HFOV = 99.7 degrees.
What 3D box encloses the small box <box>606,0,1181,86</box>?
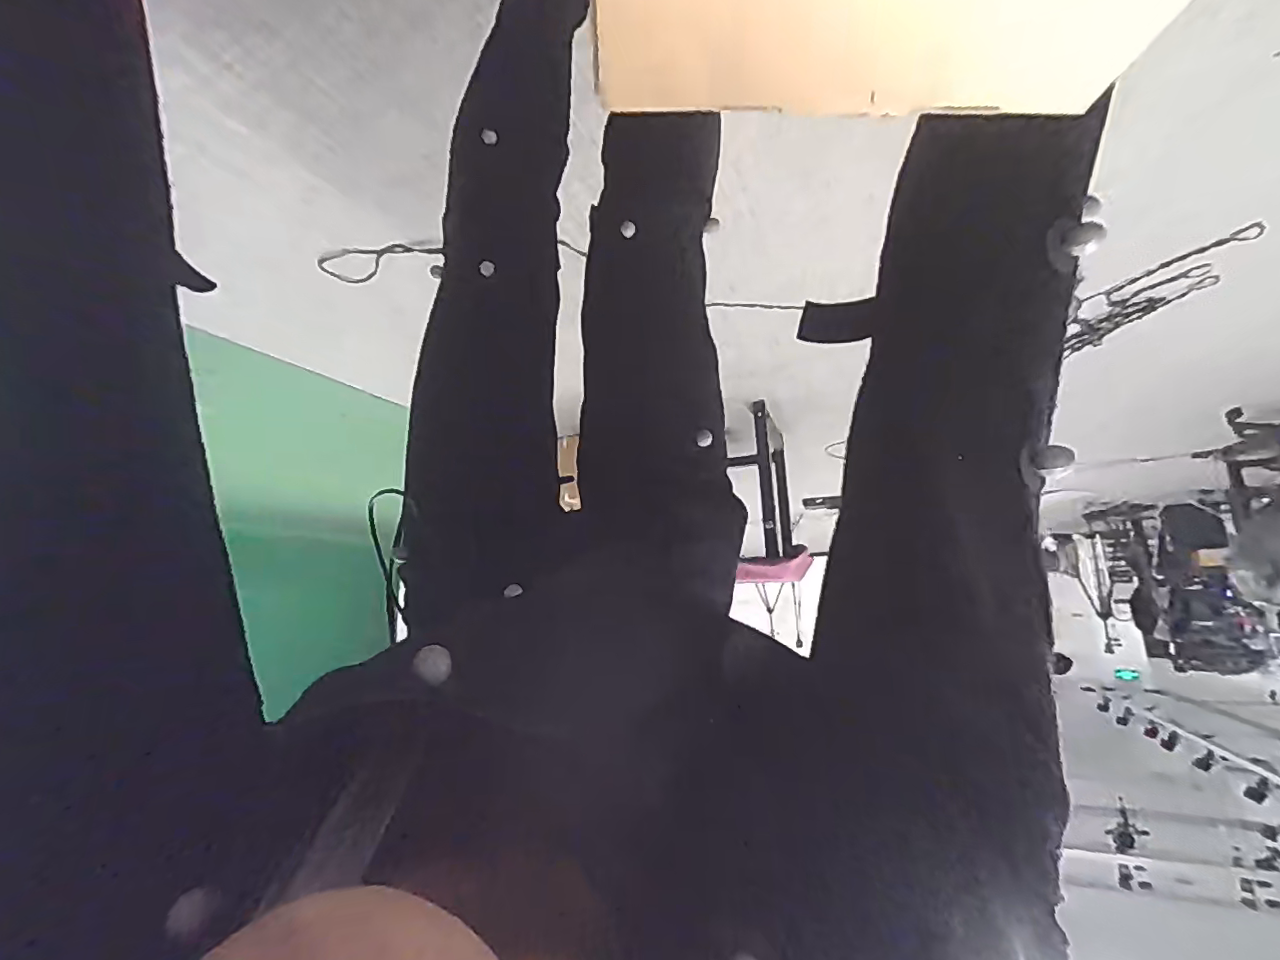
[{"bbox_3d":[0.071,-0.226,0.109,0.168,0.176,0.179,-1,168,-3],"label":"small box"}]
